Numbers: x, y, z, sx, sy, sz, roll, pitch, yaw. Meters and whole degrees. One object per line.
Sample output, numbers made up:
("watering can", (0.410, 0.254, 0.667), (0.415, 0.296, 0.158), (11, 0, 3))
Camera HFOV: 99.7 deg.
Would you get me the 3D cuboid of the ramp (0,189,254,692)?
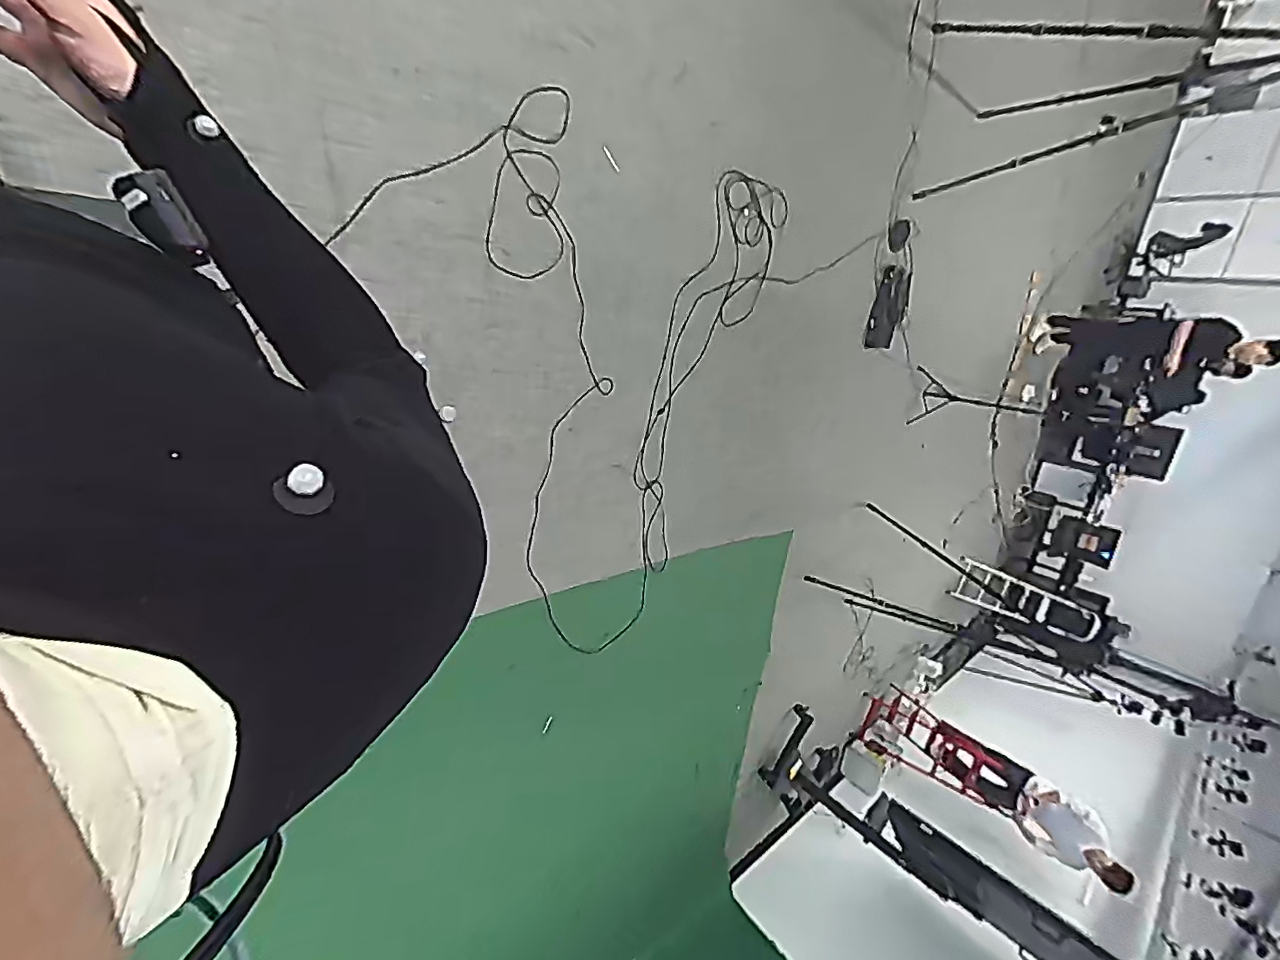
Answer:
("ramp", (-1.196, -0.078, 1.154), (0.509, 0.206, 0.991), (-11, 114, -38))
